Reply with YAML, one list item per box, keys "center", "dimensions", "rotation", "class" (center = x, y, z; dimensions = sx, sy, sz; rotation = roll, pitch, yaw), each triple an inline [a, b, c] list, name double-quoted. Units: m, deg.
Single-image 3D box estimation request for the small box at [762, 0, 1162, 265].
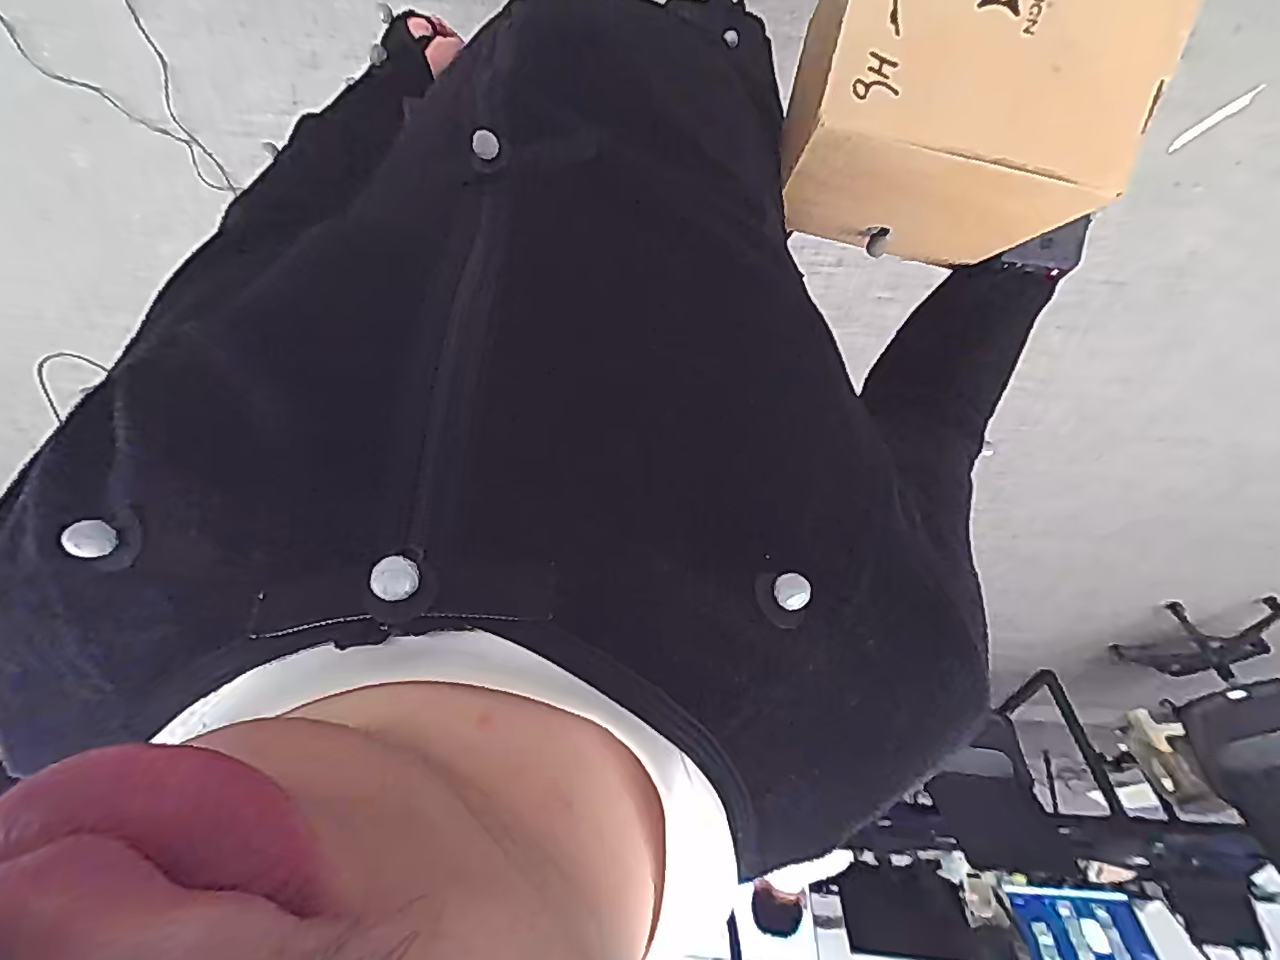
- center: [0.204, -0.268, 0.385]
  dimensions: [0.179, 0.176, 0.168]
  rotation: [13, 98, 0]
  class: "small box"
